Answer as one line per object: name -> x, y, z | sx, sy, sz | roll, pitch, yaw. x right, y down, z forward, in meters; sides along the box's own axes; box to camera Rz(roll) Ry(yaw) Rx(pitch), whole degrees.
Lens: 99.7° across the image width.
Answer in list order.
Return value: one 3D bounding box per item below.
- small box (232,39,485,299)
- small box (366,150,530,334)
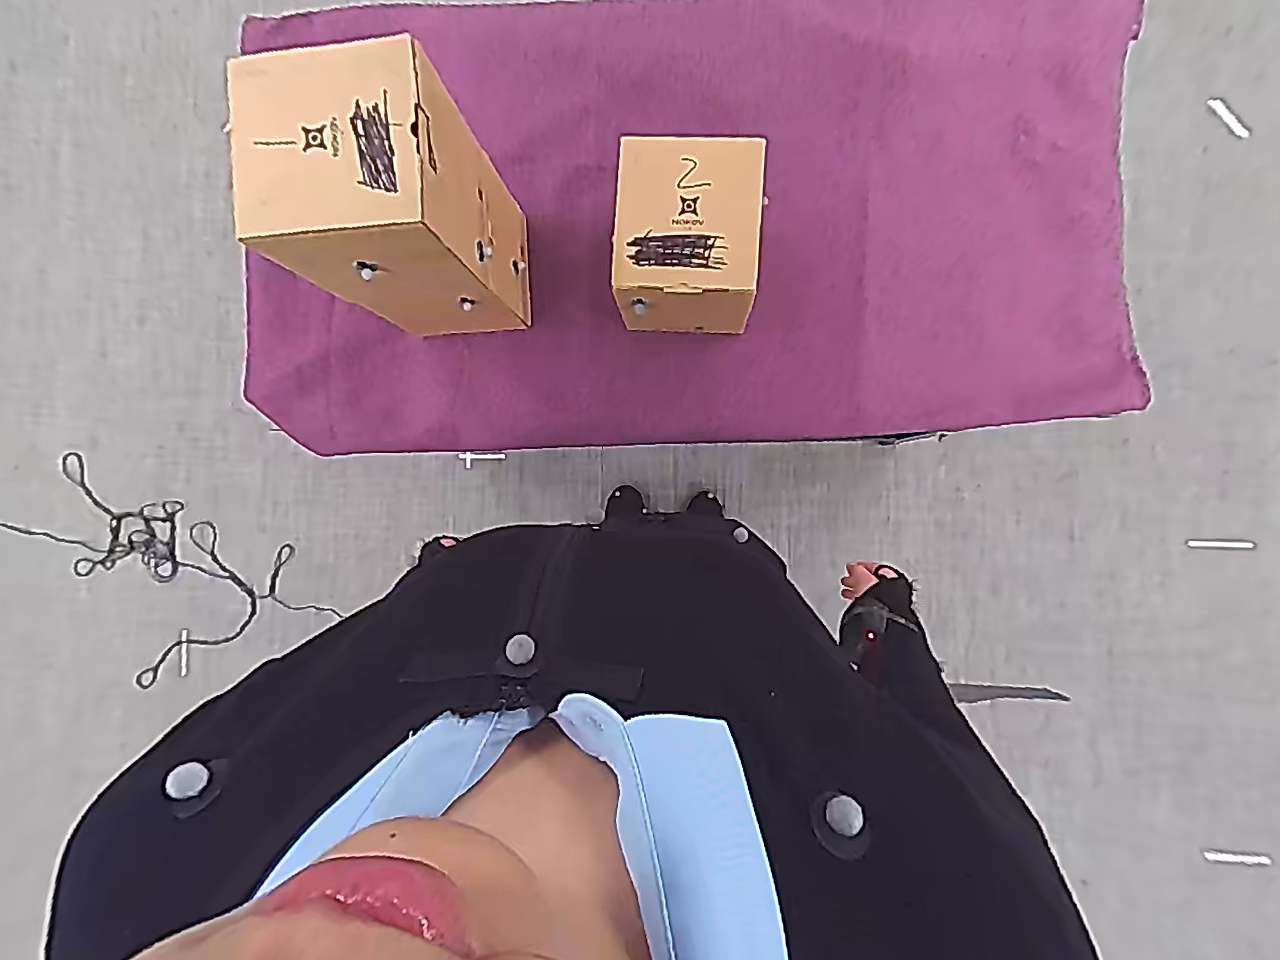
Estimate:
small box -> -0.267, -0.297, 0.554 | 0.179, 0.176, 0.168 | -3, 89, 4
small box -> -0.257, -0.300, 0.718 | 0.179, 0.176, 0.168 | -3, 89, 4
